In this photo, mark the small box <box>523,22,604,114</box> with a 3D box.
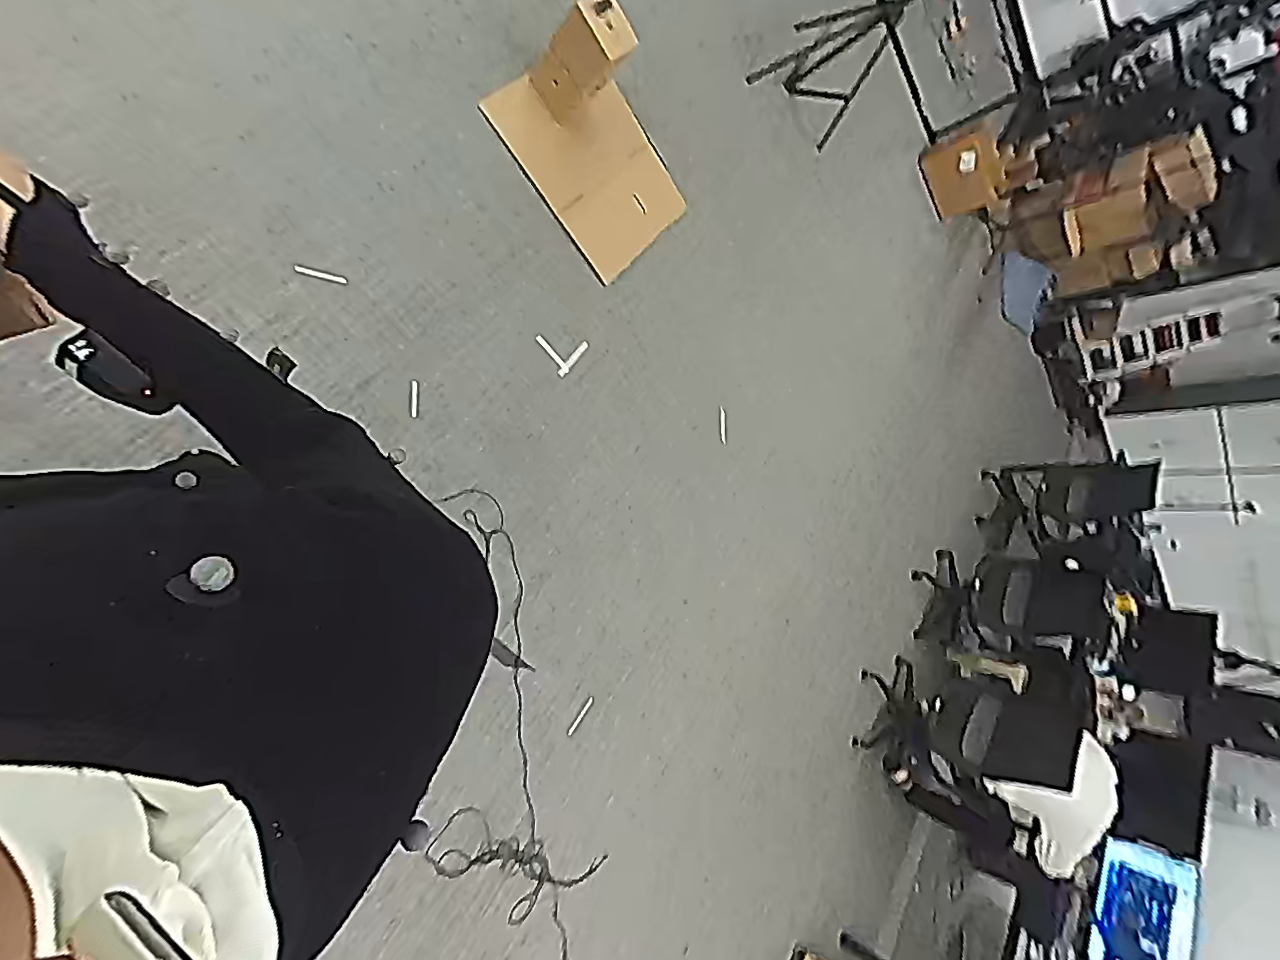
[{"bbox_3d":[-0.264,-1.394,1.847,0.179,0.176,0.168,50,61,-24],"label":"small box"}]

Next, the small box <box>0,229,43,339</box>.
[{"bbox_3d":[-0.652,-0.207,0.432,0.168,0.176,0.179,46,55,5],"label":"small box"}]
